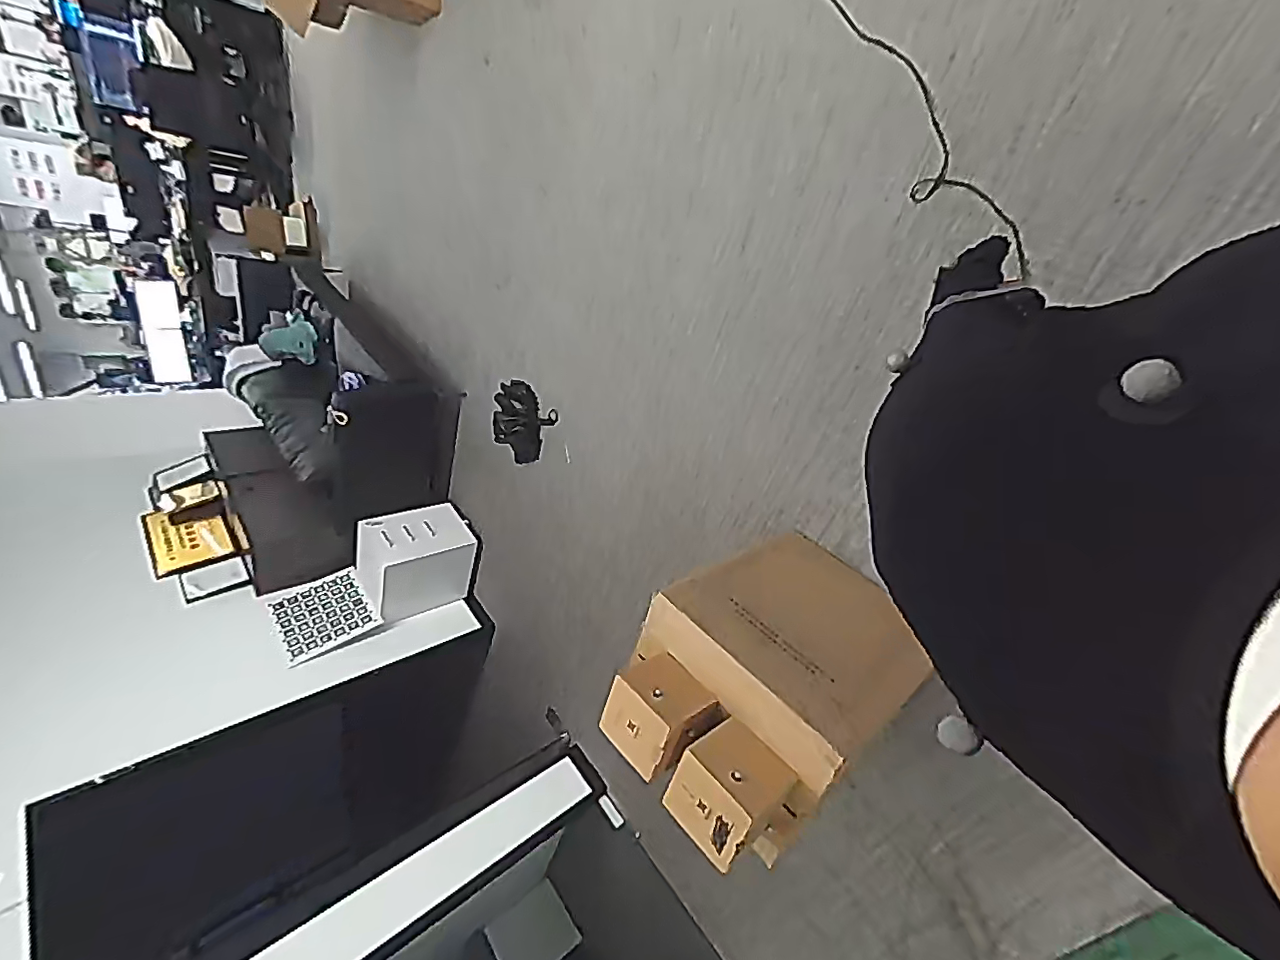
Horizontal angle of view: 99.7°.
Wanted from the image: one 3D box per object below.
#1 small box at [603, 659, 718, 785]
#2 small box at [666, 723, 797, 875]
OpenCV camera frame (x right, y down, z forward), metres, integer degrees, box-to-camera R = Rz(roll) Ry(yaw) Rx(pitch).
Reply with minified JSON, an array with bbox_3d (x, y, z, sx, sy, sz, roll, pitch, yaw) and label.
[{"bbox_3d":[0.049,0.538,1.233,0.179,0.176,0.168,34,117,38],"label":"small box"},{"bbox_3d":[0.189,0.638,1.106,0.179,0.176,0.168,36,118,37],"label":"small box"}]
